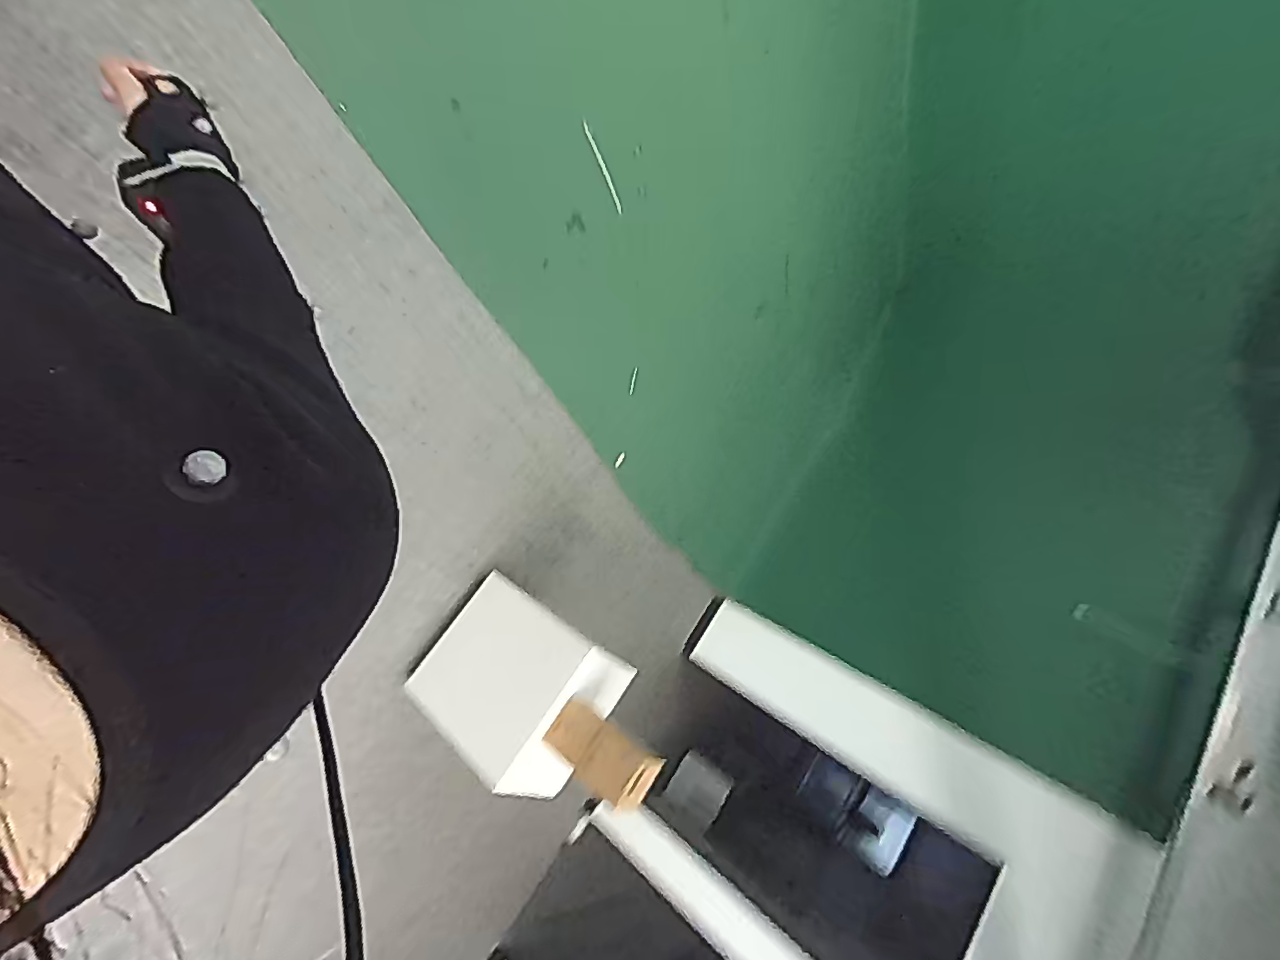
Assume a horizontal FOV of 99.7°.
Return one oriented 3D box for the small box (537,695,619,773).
[{"bbox_3d":[-0.203,0.831,1.775,0.168,0.176,0.179,-55,146,-15],"label":"small box"}]
